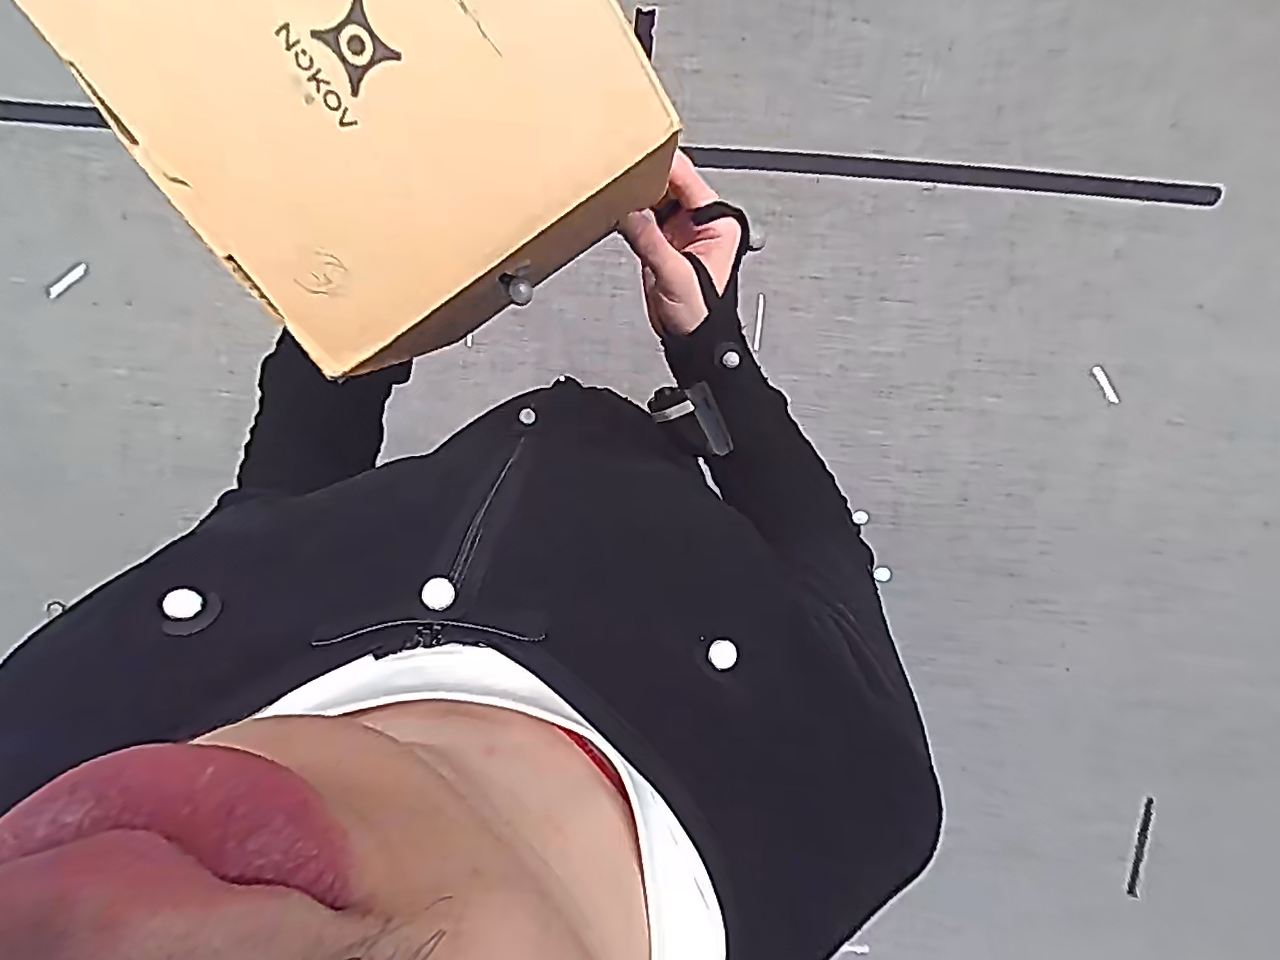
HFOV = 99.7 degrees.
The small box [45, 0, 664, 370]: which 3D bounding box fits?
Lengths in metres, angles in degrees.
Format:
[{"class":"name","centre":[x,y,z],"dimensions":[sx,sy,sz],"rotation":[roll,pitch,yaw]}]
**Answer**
[{"class":"small box","centre":[-0.102,-0.181,0.277],"dimensions":[0.179,0.176,0.168],"rotation":[-31,108,11]}]
